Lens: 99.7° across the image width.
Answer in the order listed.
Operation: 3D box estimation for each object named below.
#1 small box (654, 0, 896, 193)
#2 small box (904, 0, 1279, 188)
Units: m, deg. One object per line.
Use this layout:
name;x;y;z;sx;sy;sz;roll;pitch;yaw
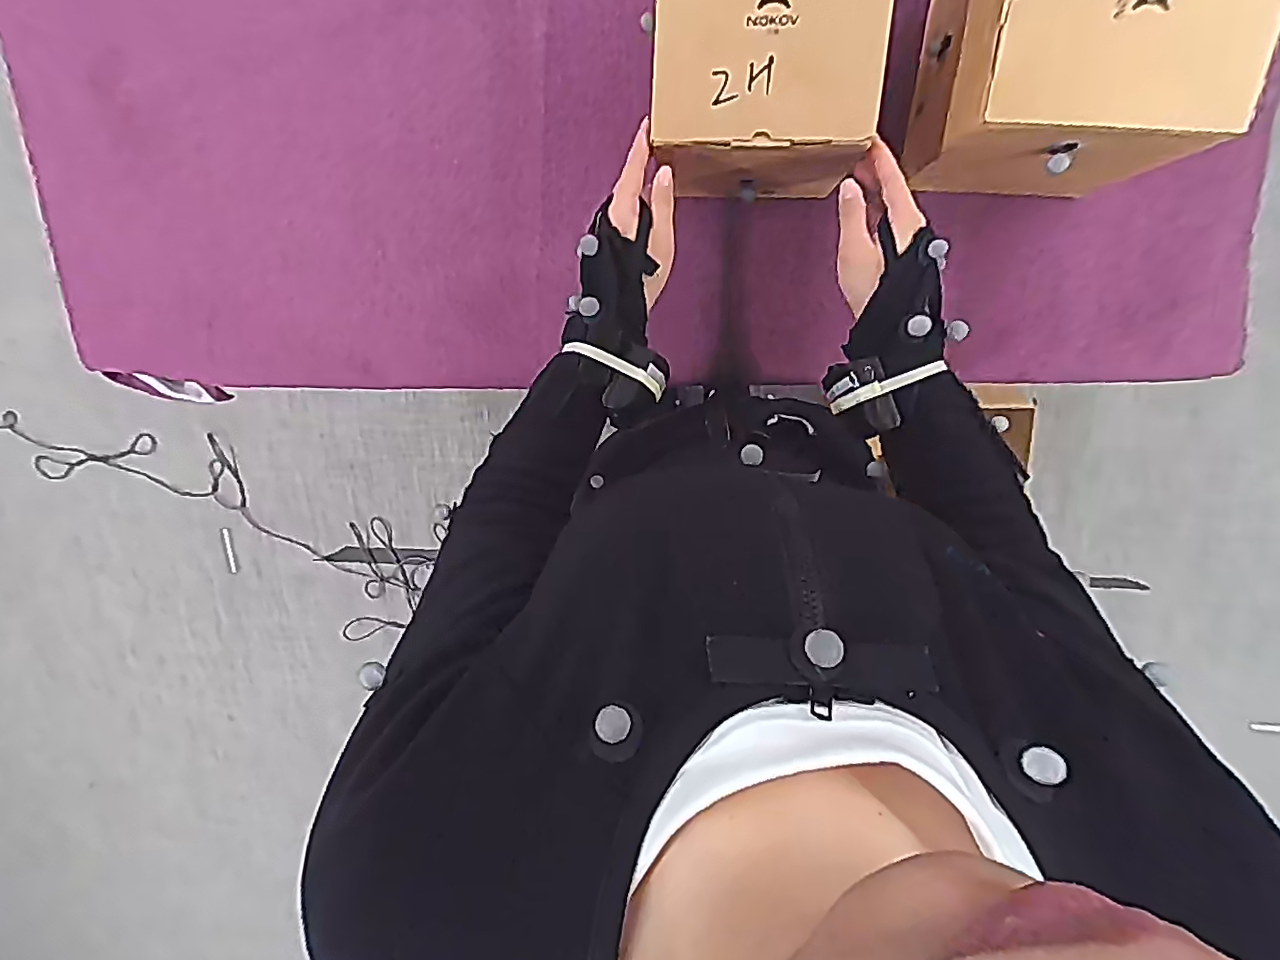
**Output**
small box;0.103;-0.360;0.453;0.168;0.176;0.179;4;106;6
small box;0.343;-0.347;0.432;0.179;0.176;0.168;6;105;5
